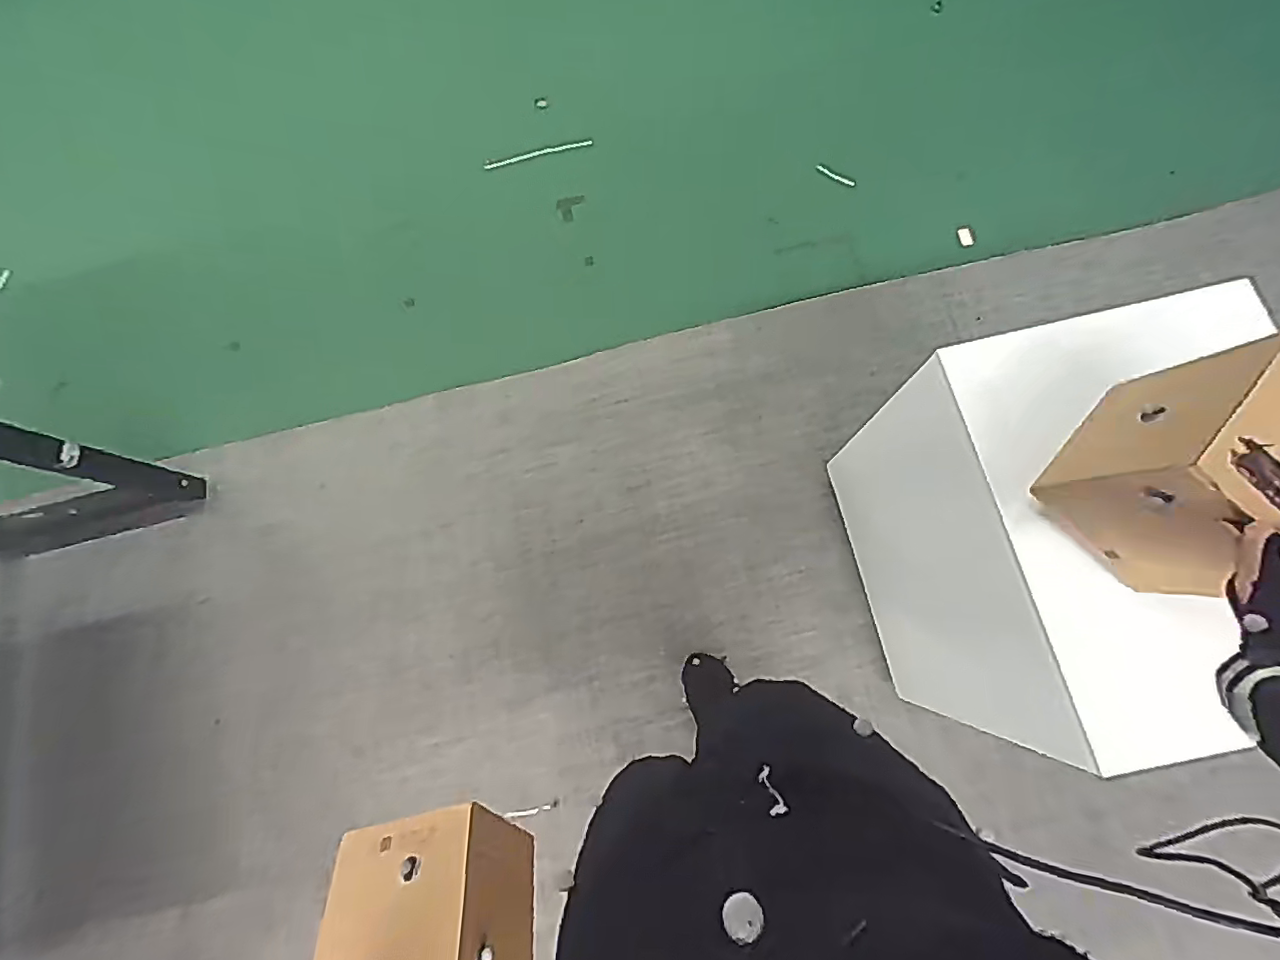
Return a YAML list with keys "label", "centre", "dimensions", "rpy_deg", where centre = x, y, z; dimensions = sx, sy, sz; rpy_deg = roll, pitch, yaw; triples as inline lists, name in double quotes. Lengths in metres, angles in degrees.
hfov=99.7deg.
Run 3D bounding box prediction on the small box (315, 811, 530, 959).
- label: "small box"
  centre: [-0.233, 0.502, 0.618]
  dimensions: [0.168, 0.179, 0.176]
  rpy_deg: [-17, 43, 6]
